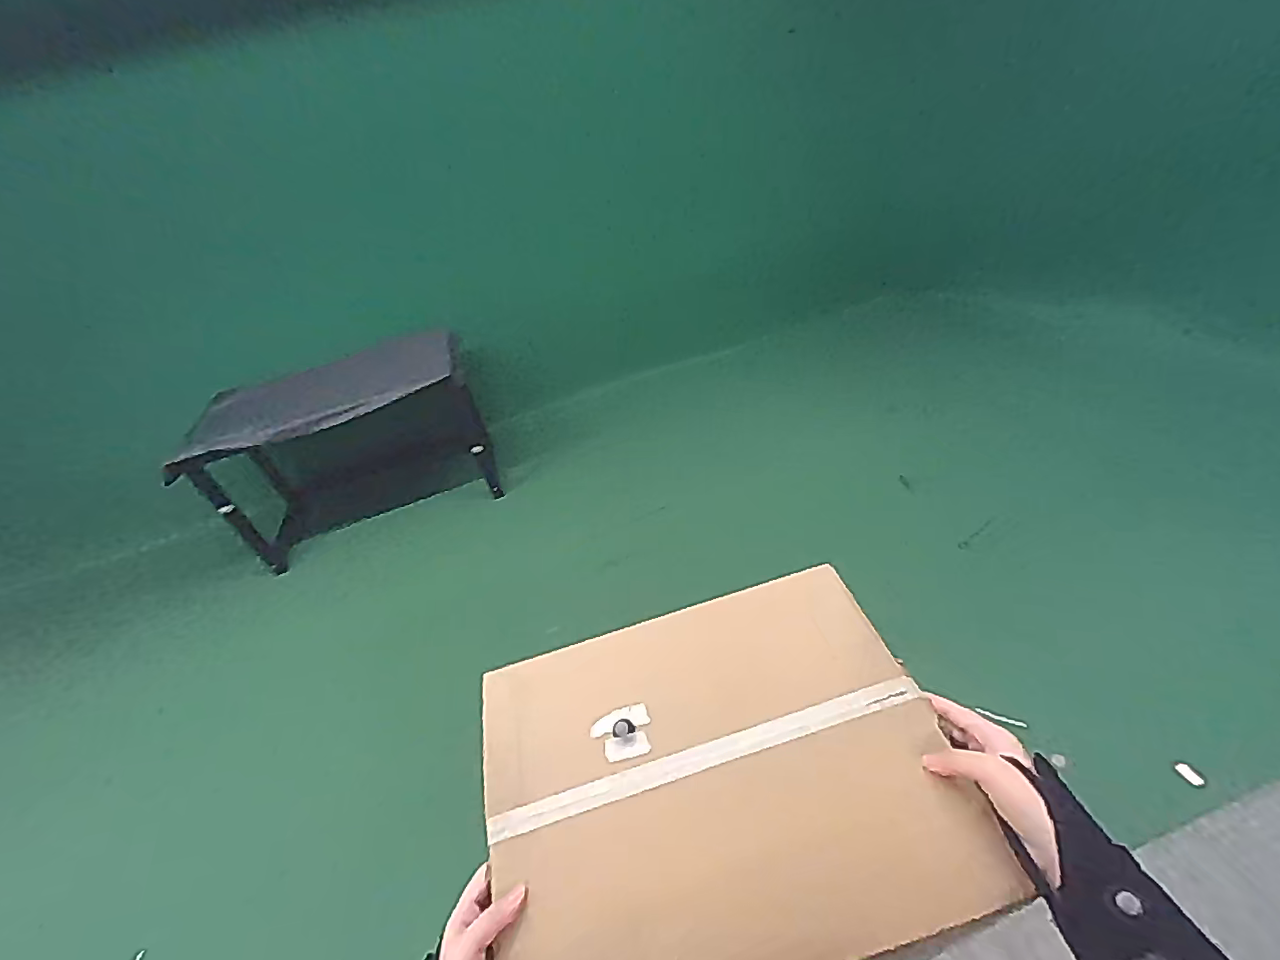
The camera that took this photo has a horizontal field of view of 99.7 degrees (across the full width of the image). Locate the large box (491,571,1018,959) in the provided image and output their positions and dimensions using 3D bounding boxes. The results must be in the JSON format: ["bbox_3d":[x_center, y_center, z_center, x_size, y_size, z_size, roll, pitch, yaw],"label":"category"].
[{"bbox_3d":[0.091,0.366,0.601,0.408,0.320,0.320,-19,43,-2],"label":"large box"}]
